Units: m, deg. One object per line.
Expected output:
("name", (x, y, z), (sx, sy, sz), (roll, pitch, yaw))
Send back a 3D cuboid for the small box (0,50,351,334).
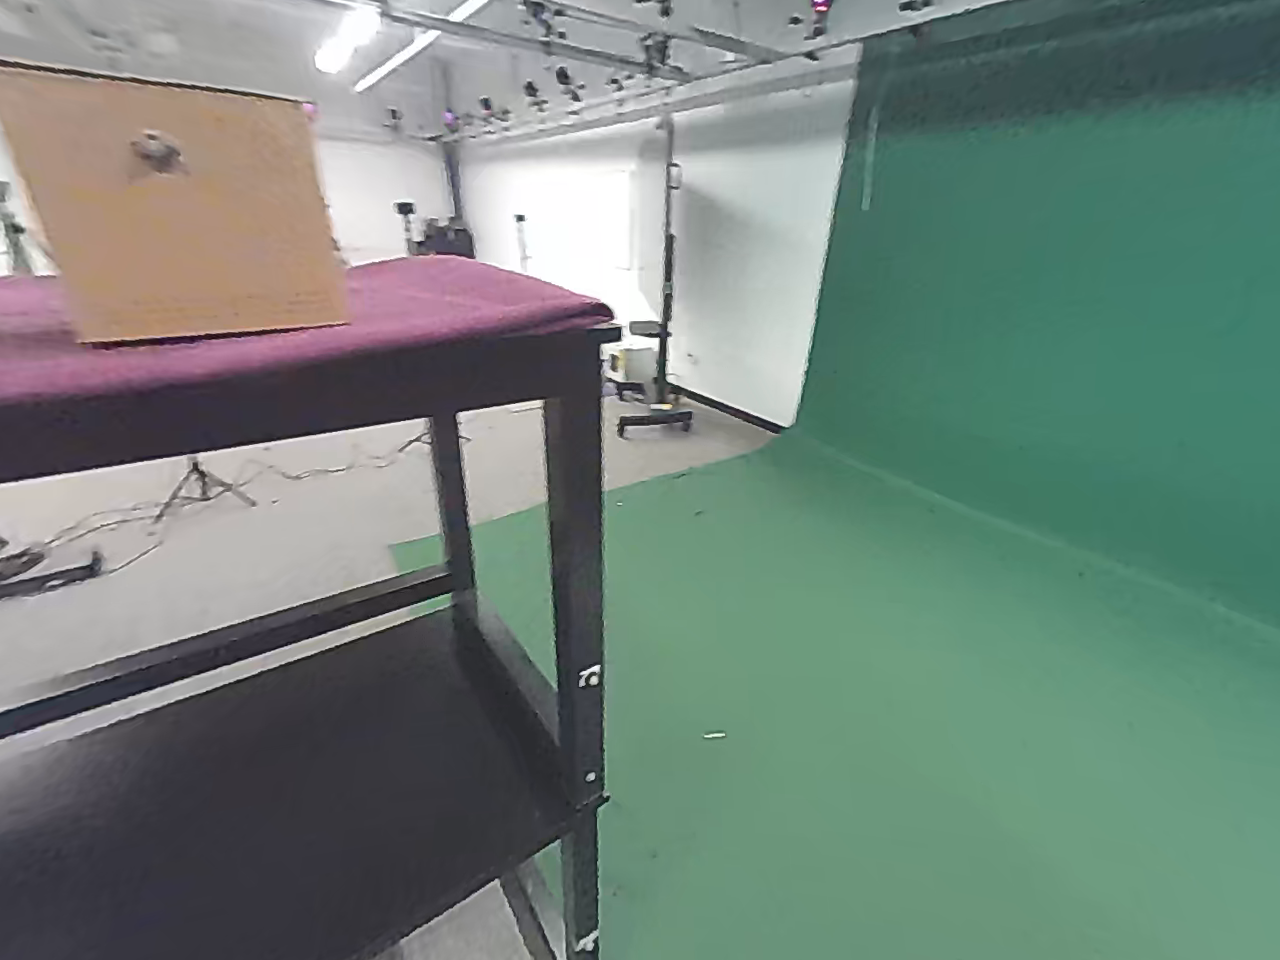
("small box", (-0.365, -0.220, 0.451), (0.179, 0.176, 0.168), (-16, 29, -32))
